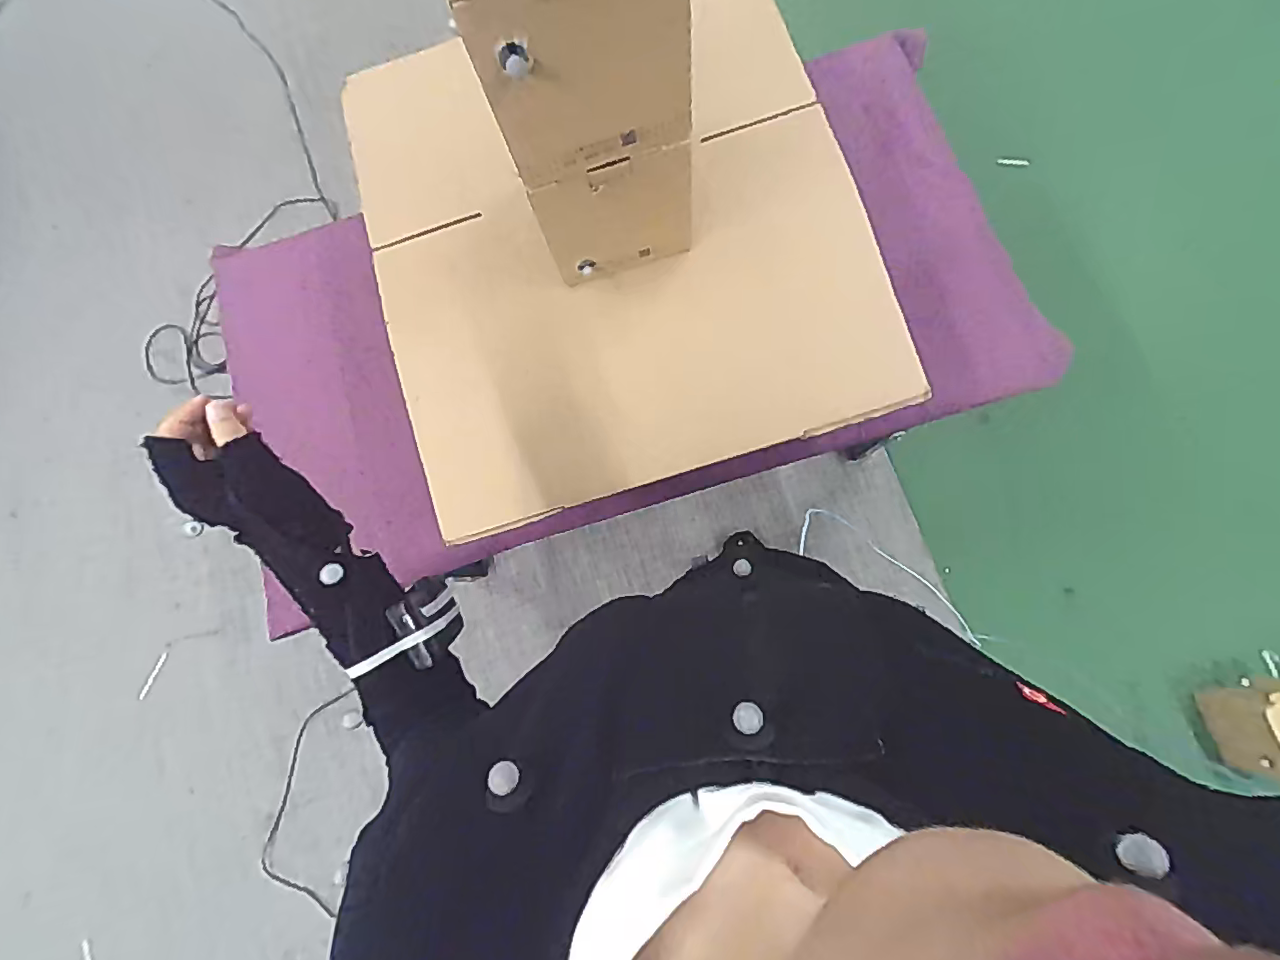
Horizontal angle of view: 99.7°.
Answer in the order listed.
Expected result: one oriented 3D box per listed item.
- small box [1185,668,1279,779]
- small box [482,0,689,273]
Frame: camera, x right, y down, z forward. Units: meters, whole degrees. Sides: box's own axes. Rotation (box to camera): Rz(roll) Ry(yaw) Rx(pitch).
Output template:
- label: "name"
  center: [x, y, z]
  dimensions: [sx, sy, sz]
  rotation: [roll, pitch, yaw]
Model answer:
- label: "small box"
  center: [1.446, 0.555, 1.250]
  dimensions: [0.168, 0.176, 0.179]
  rotation: [-18, 80, 1]
- label: "small box"
  center: [-0.048, -0.358, 0.600]
  dimensions: [0.168, 0.176, 0.179]
  rotation: [-20, 79, 1]
